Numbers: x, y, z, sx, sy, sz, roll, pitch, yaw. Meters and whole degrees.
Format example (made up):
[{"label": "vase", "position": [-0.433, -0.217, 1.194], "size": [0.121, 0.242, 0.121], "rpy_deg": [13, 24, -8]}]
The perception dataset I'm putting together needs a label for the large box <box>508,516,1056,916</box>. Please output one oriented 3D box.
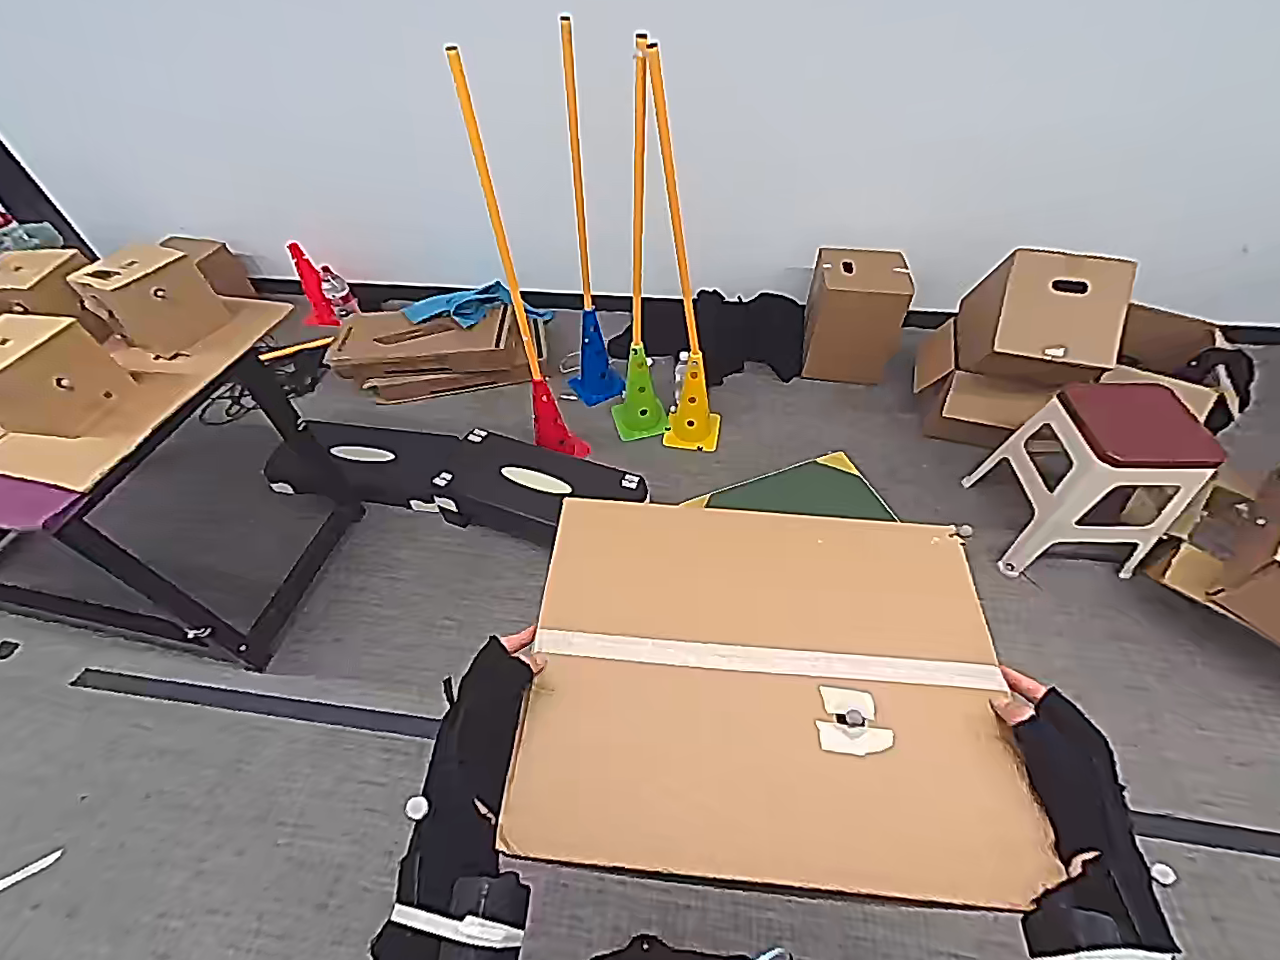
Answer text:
[{"label": "large box", "position": [0.107, 0.261, 0.595], "size": [0.408, 0.320, 0.320], "rpy_deg": [4, 54, 3]}]
